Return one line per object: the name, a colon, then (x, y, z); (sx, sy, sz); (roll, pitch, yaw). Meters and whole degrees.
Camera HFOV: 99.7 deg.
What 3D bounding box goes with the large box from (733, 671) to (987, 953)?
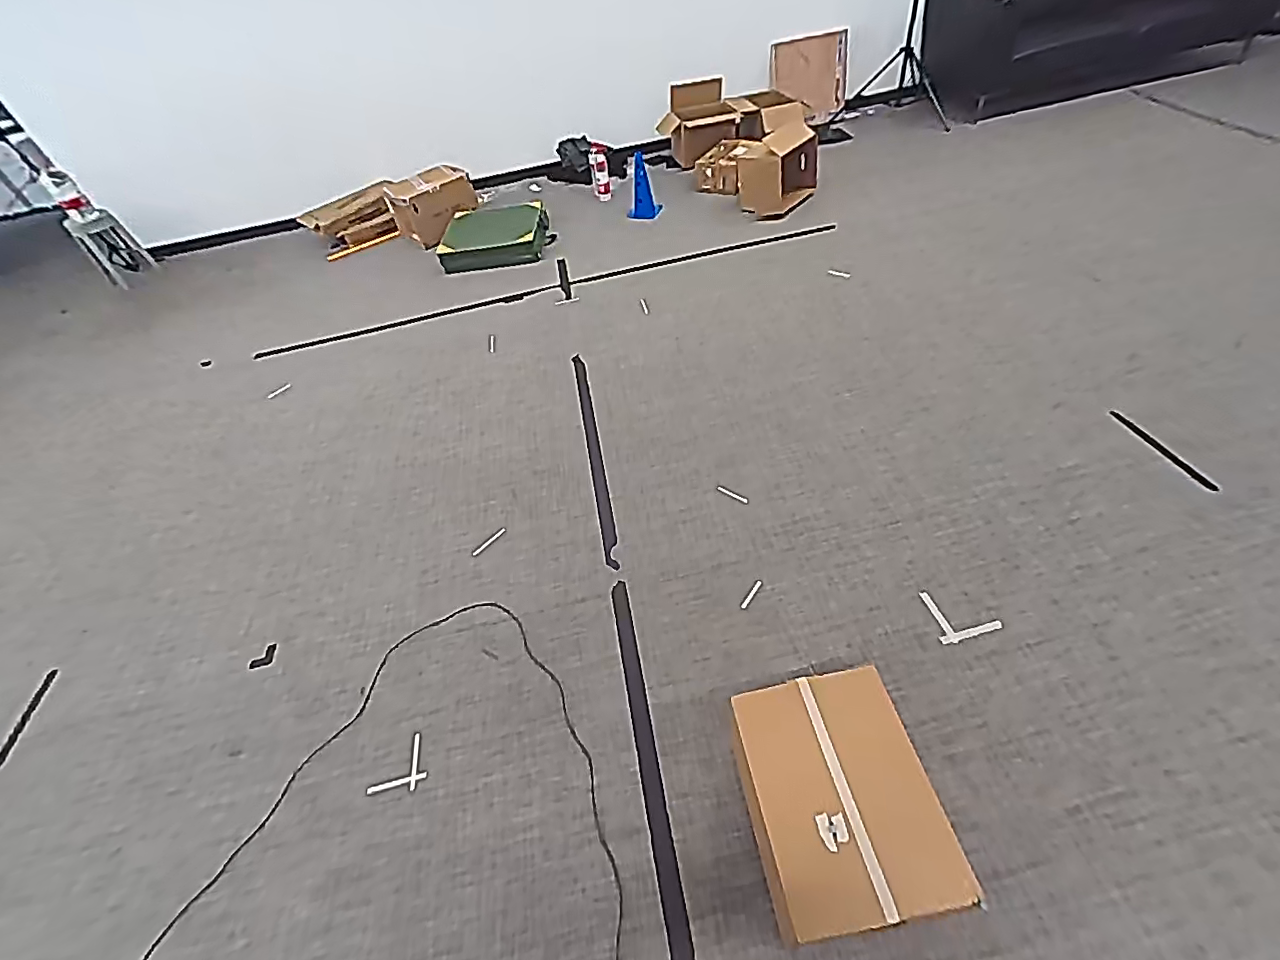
large box: (0.395, 0.672, 1.108); (0.320, 0.320, 0.408); (-13, 48, 0)
